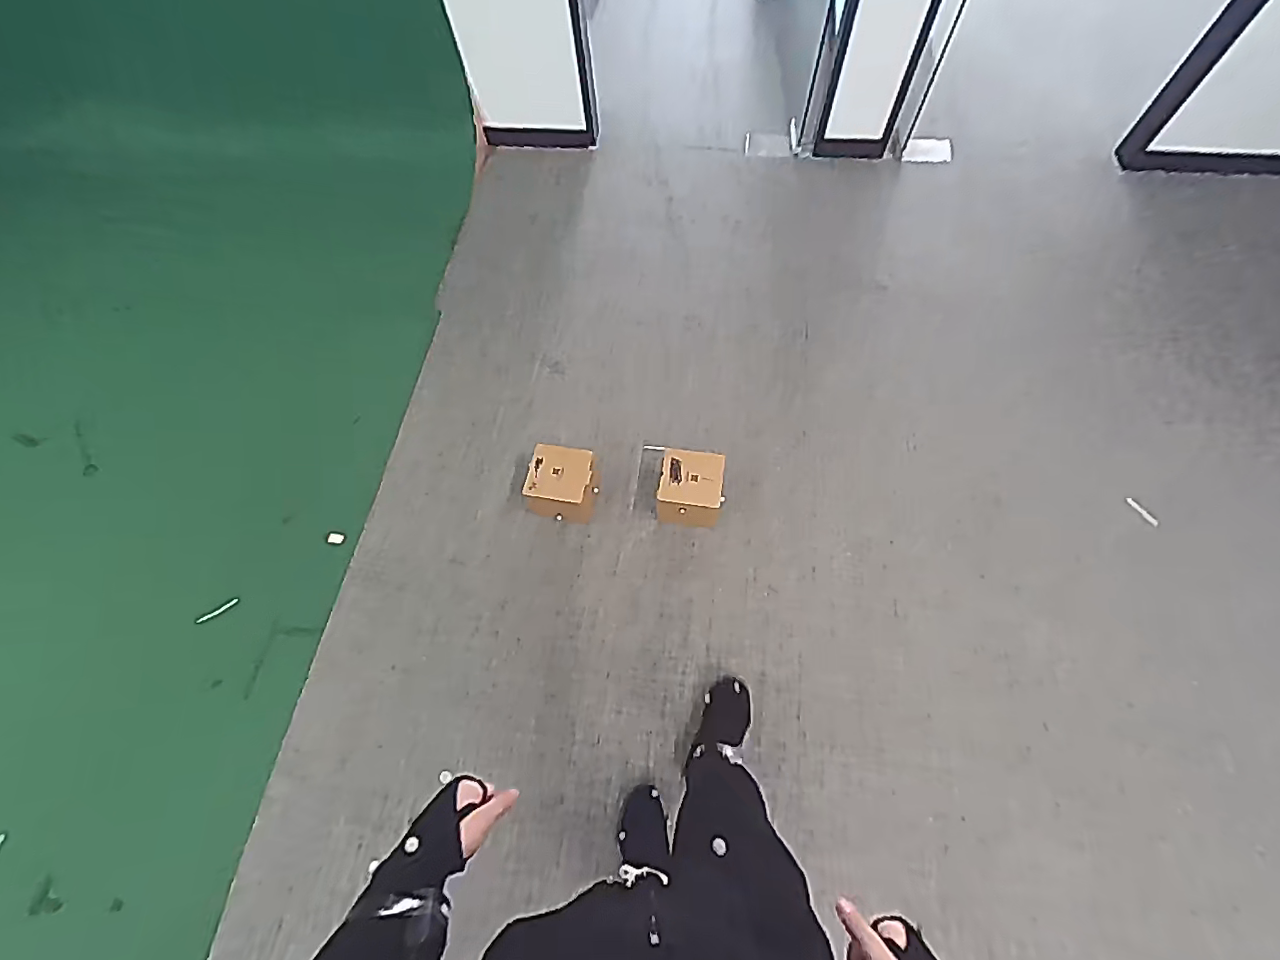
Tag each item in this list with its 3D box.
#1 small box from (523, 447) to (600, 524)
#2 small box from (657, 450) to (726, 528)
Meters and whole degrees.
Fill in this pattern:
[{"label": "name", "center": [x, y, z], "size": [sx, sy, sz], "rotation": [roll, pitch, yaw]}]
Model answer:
[{"label": "small box", "center": [-0.224, 0.022, 1.603], "size": [0.179, 0.176, 0.168], "rotation": [9, 66, 7]}, {"label": "small box", "center": [0.148, 0.029, 1.575], "size": [0.179, 0.176, 0.168], "rotation": [7, 66, 6]}]
